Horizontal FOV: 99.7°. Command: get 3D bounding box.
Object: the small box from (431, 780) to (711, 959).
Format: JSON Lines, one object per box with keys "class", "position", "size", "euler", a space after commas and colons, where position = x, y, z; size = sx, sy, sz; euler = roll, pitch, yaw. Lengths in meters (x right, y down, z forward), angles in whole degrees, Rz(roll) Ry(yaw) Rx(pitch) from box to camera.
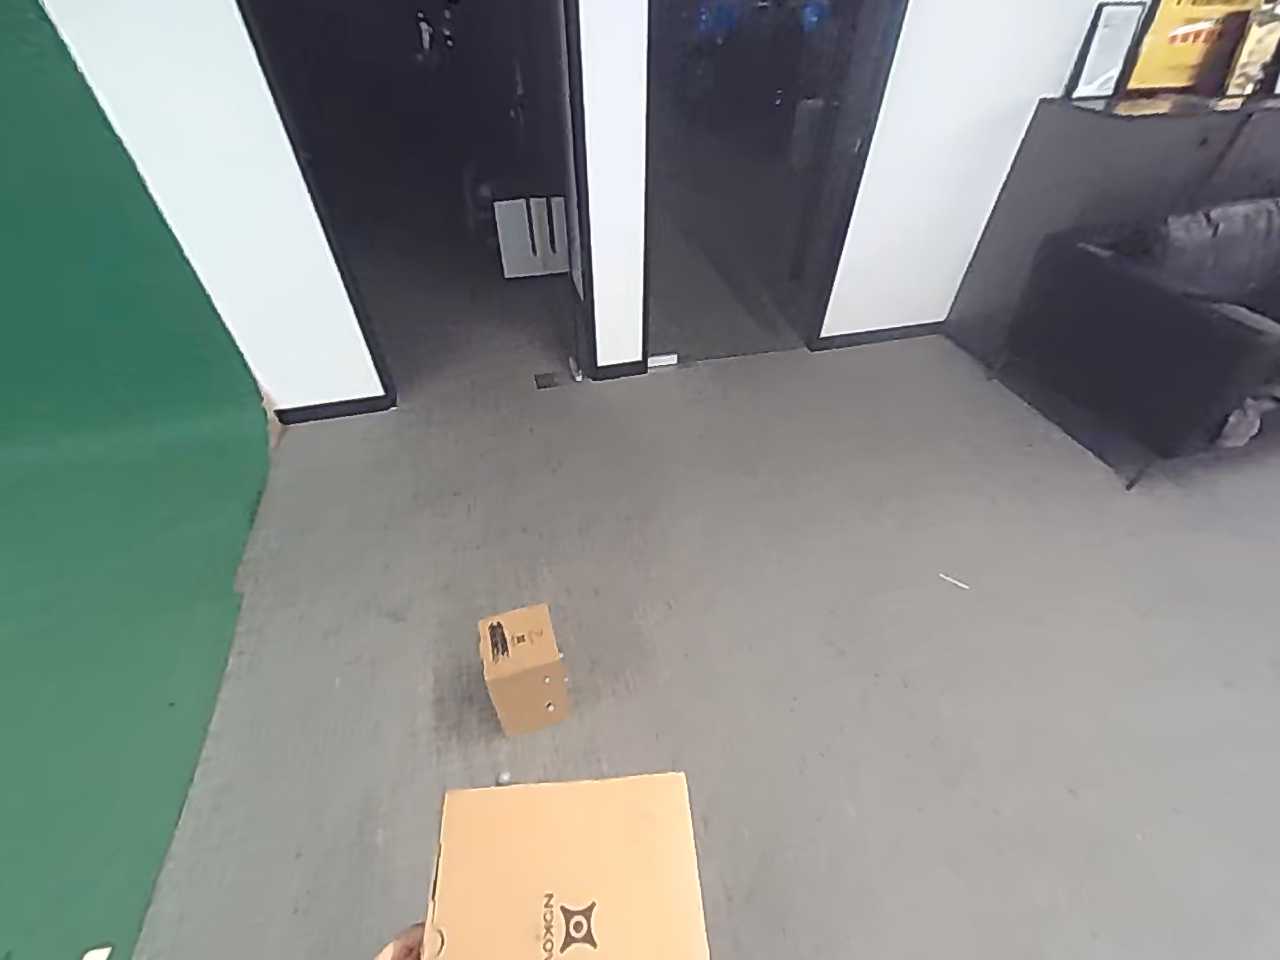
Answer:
{"class": "small box", "position": [-0.053, 0.335, 0.408], "size": [0.179, 0.176, 0.168], "euler": [0, 53, -9]}
